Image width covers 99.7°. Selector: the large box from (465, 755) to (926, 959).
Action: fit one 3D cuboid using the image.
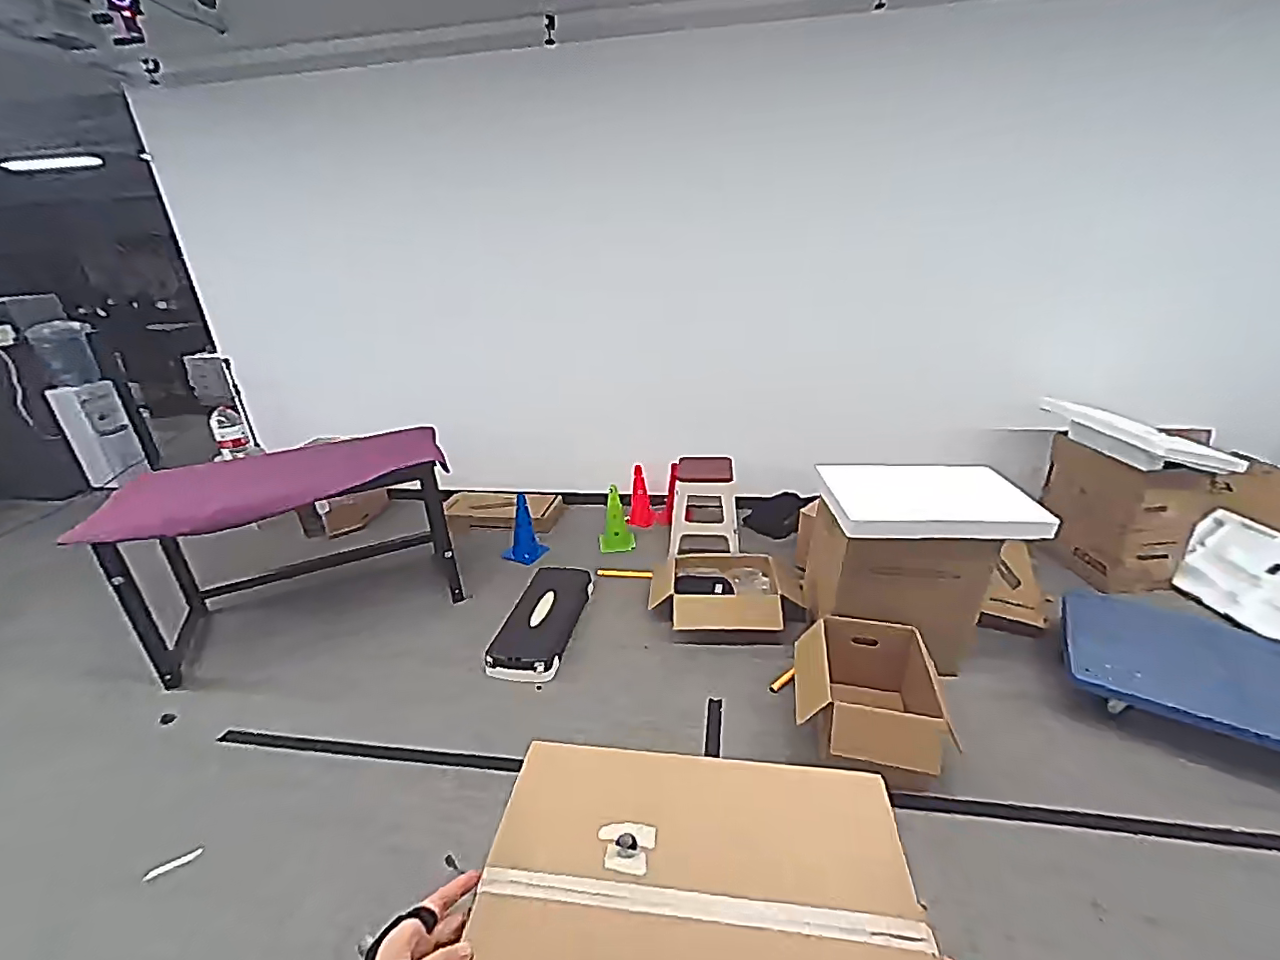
[{"bbox_3d":[0.060,0.533,0.562,0.408,0.320,0.320,0,24,8],"label":"large box"}]
